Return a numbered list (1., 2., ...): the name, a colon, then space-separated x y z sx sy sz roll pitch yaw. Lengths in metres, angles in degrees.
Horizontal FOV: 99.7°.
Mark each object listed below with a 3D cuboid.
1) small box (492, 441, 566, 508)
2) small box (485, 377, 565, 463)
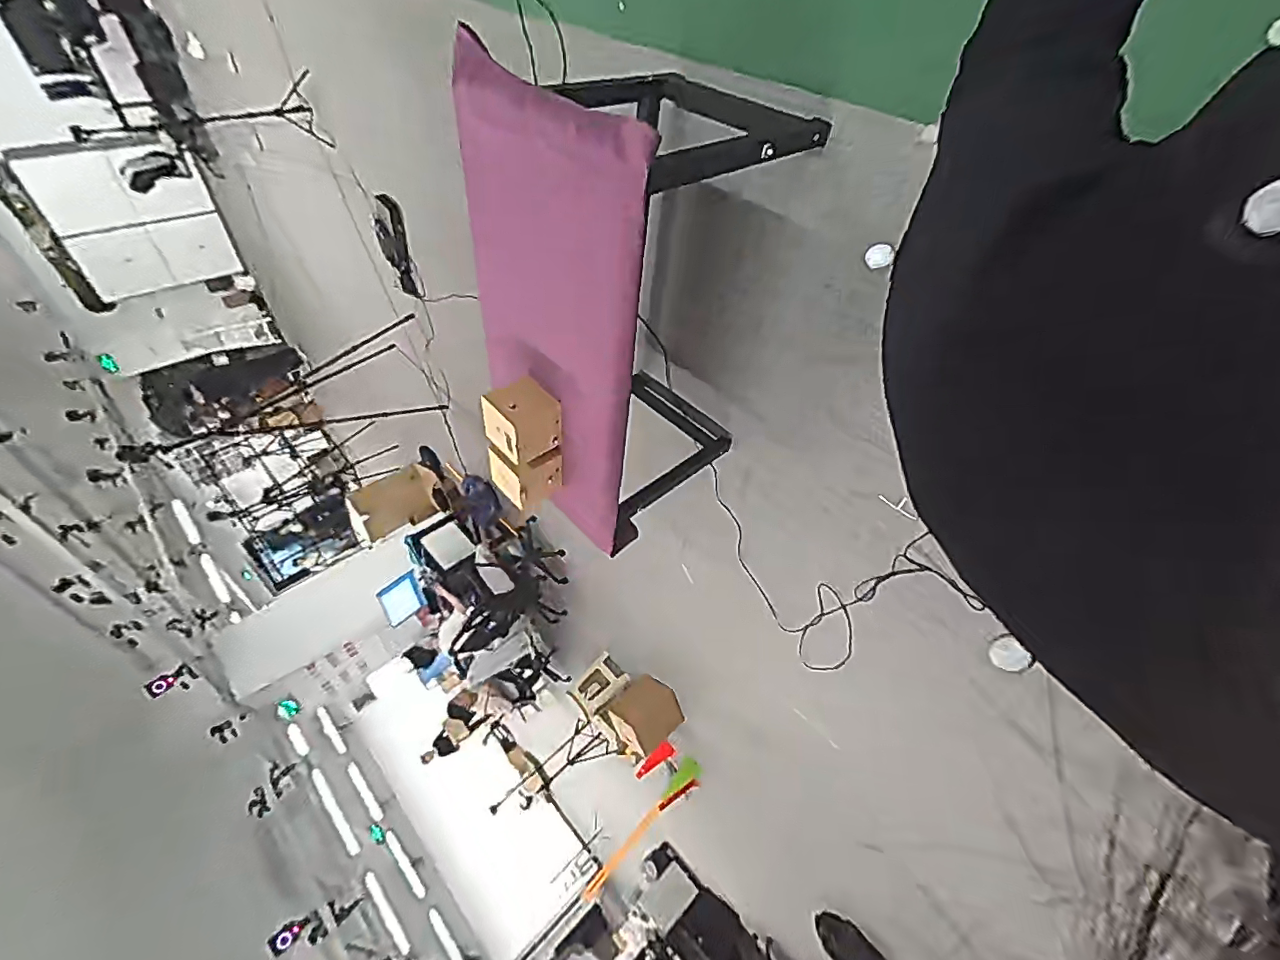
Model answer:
1. small box: -0.368 -0.047 1.801 0.179 0.176 0.168 41 145 26
2. small box: -0.343 -0.189 1.642 0.179 0.176 0.168 42 145 26
